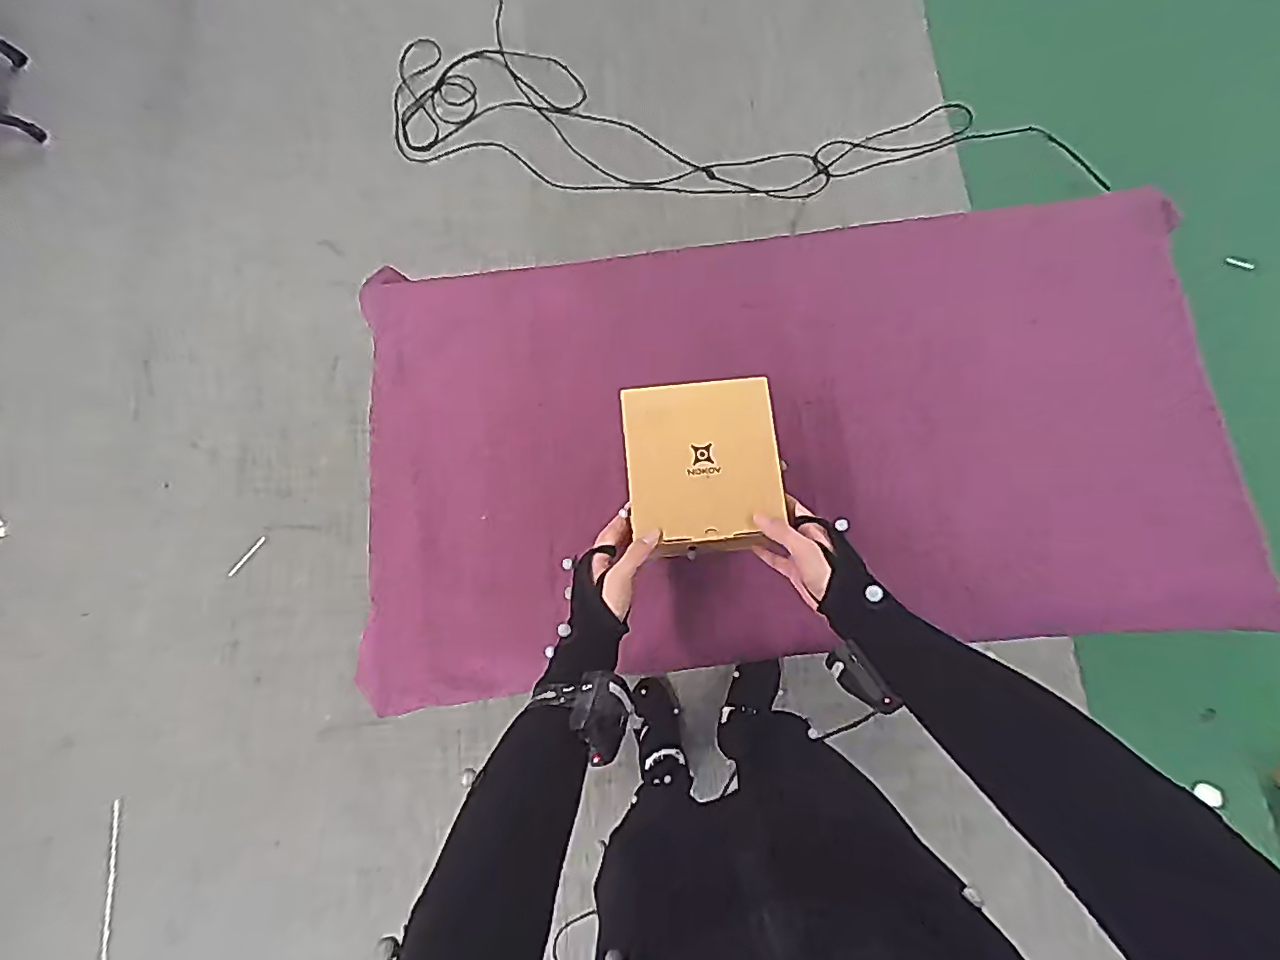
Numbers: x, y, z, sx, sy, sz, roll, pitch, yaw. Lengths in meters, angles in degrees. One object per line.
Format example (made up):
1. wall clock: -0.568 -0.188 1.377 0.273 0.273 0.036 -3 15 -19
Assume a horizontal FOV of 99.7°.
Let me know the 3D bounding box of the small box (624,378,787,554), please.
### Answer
1. small box: 0.067 -0.007 0.662 0.168 0.176 0.179 -5 79 -1

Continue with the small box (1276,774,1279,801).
1. small box: 1.584 0.752 1.191 0.179 0.176 0.168 -7 78 1
